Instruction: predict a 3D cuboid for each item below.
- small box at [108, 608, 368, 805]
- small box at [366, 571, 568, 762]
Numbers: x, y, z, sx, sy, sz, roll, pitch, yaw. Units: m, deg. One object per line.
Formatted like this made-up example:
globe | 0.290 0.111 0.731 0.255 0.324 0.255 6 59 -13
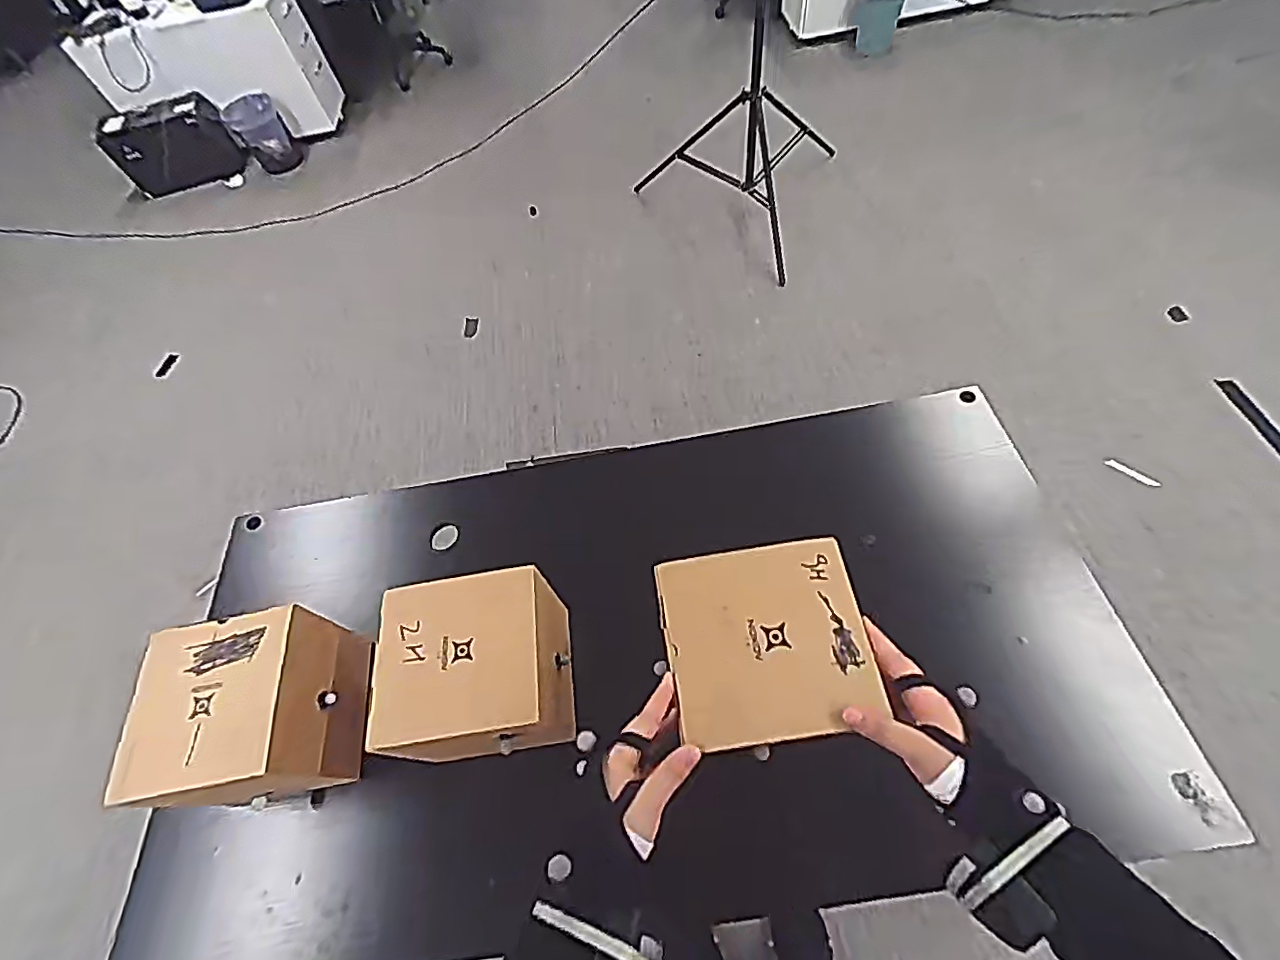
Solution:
small box | -0.448 0.272 0.641 0.168 0.176 0.179 -12 60 1
small box | -0.185 0.224 0.634 0.179 0.176 0.168 -10 58 1
